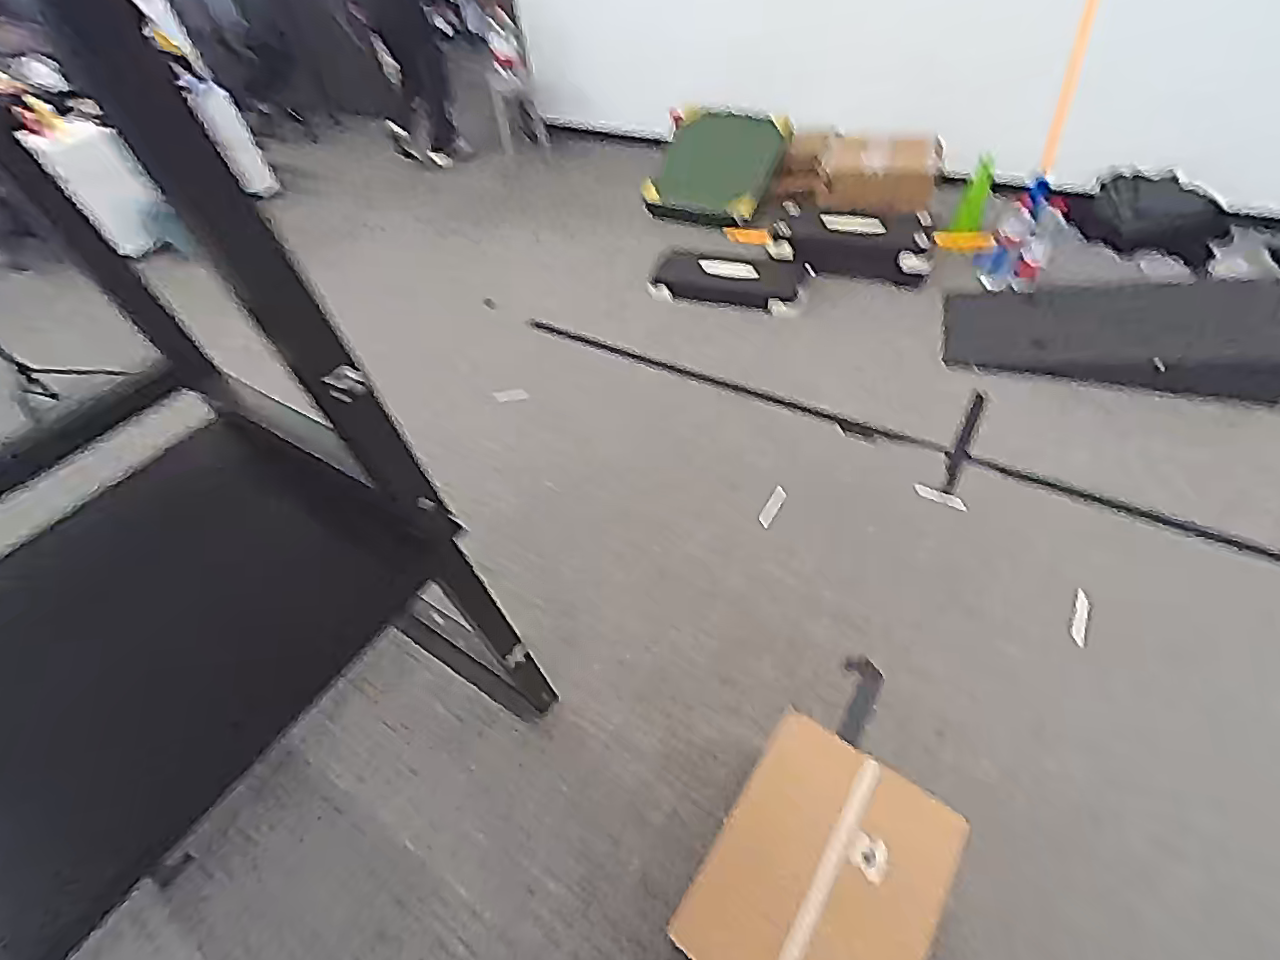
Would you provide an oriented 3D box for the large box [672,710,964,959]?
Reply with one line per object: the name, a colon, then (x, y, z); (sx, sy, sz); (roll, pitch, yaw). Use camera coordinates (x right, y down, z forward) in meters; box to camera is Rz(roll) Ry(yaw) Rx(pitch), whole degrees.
large box: (0.293, 0.707, 0.941); (0.320, 0.320, 0.408); (28, 57, 25)
